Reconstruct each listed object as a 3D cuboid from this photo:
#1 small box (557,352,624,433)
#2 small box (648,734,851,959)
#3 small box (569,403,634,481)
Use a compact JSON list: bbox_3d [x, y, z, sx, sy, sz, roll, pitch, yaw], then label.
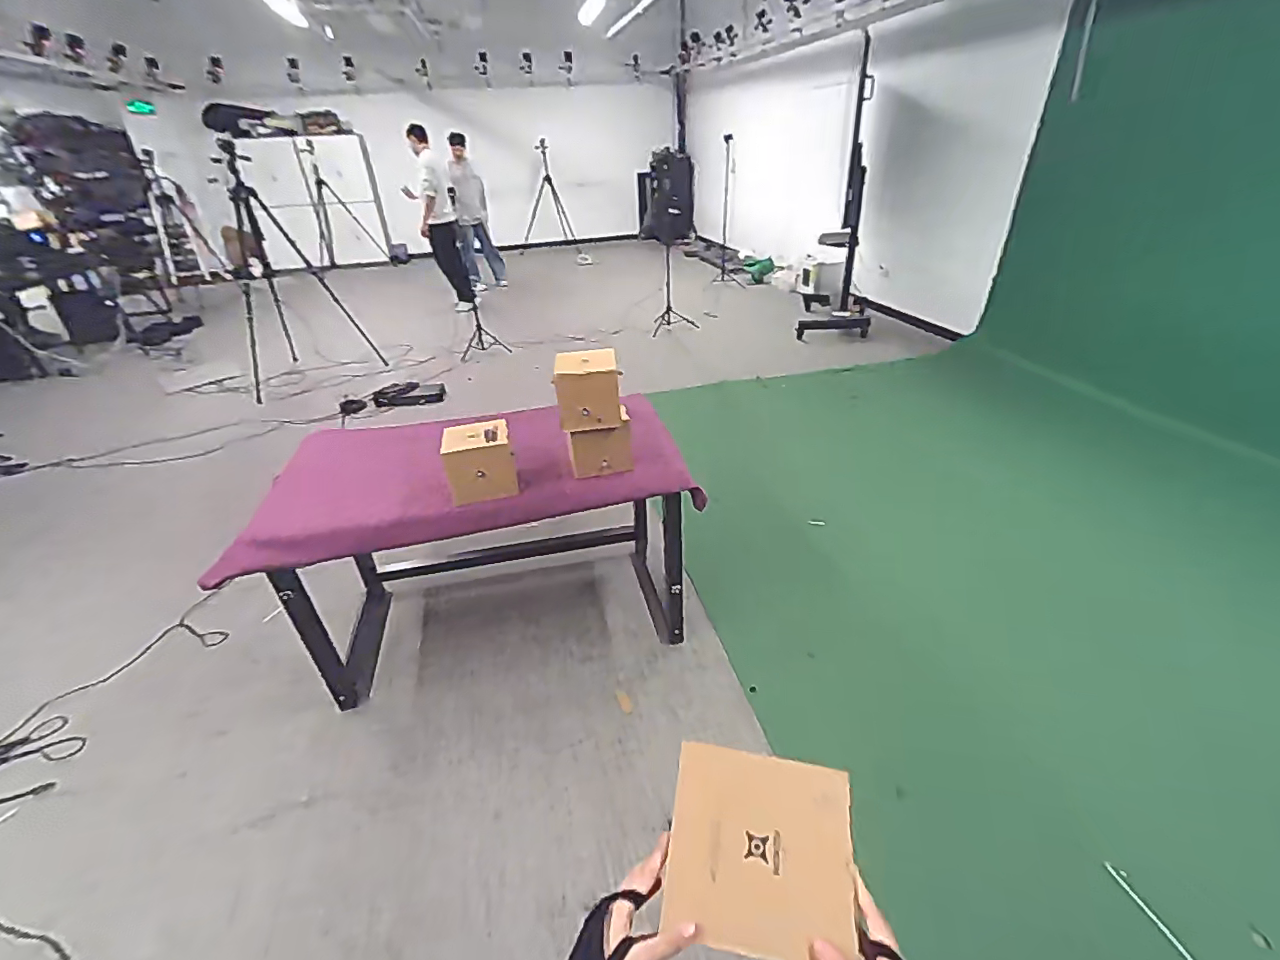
[{"bbox_3d":[-0.136,-0.244,1.508,0.168,0.176,0.179,-6,32,-2],"label":"small box"},{"bbox_3d":[0.109,0.393,0.572,0.179,0.176,0.168,7,50,9],"label":"small box"},{"bbox_3d":[-0.117,-0.116,1.610,0.179,0.176,0.168,-10,30,-9],"label":"small box"}]
